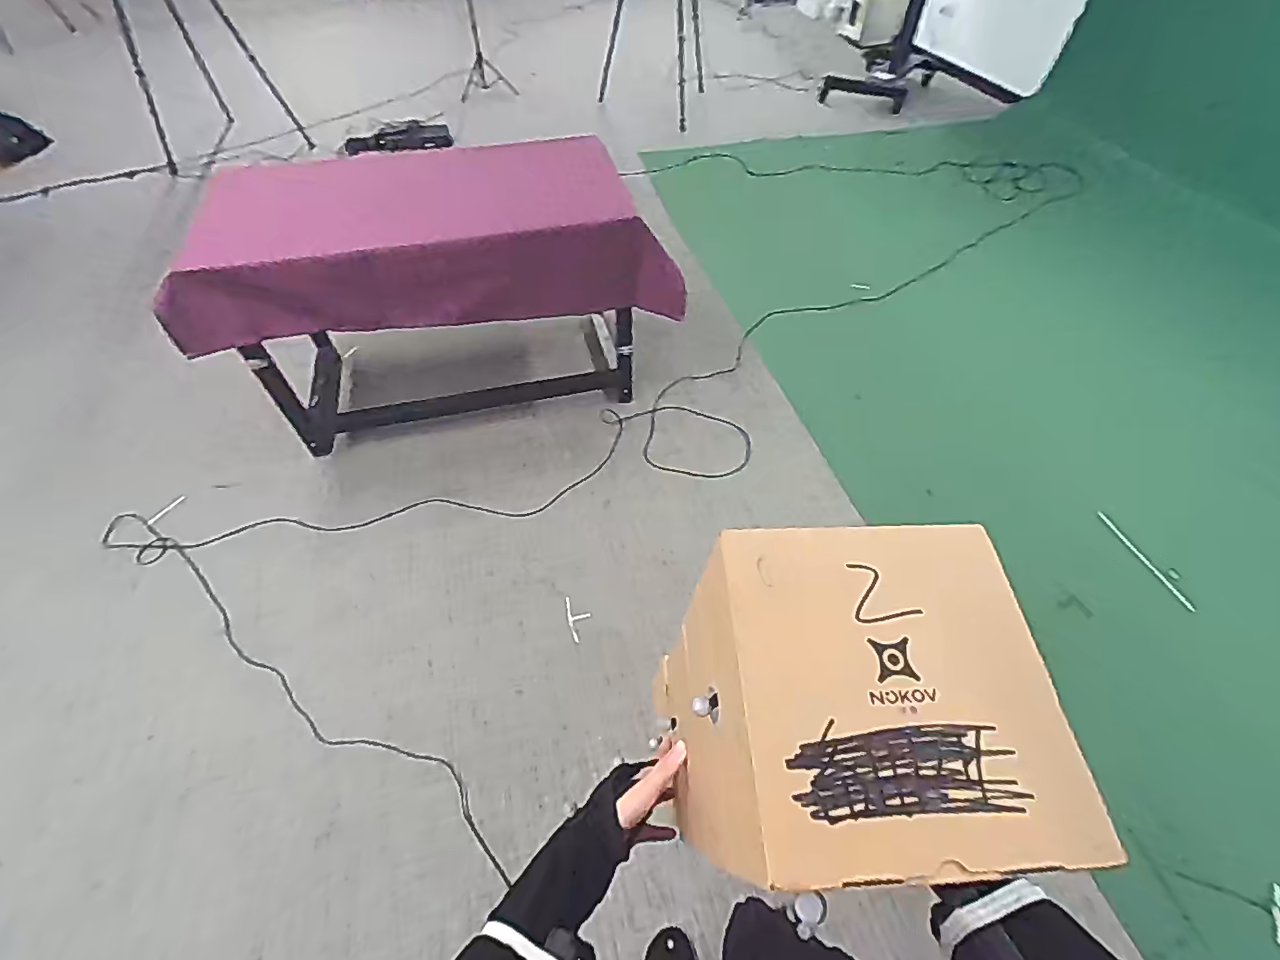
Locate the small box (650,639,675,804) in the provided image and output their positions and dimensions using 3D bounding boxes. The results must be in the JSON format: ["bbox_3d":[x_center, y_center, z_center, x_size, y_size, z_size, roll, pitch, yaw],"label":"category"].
[{"bbox_3d":[0.111,0.289,0.654,0.179,0.176,0.168,-4,59,-6],"label":"small box"}]

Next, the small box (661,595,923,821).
[{"bbox_3d":[0.119,0.216,0.508,0.179,0.176,0.168,-2,58,-4],"label":"small box"}]
